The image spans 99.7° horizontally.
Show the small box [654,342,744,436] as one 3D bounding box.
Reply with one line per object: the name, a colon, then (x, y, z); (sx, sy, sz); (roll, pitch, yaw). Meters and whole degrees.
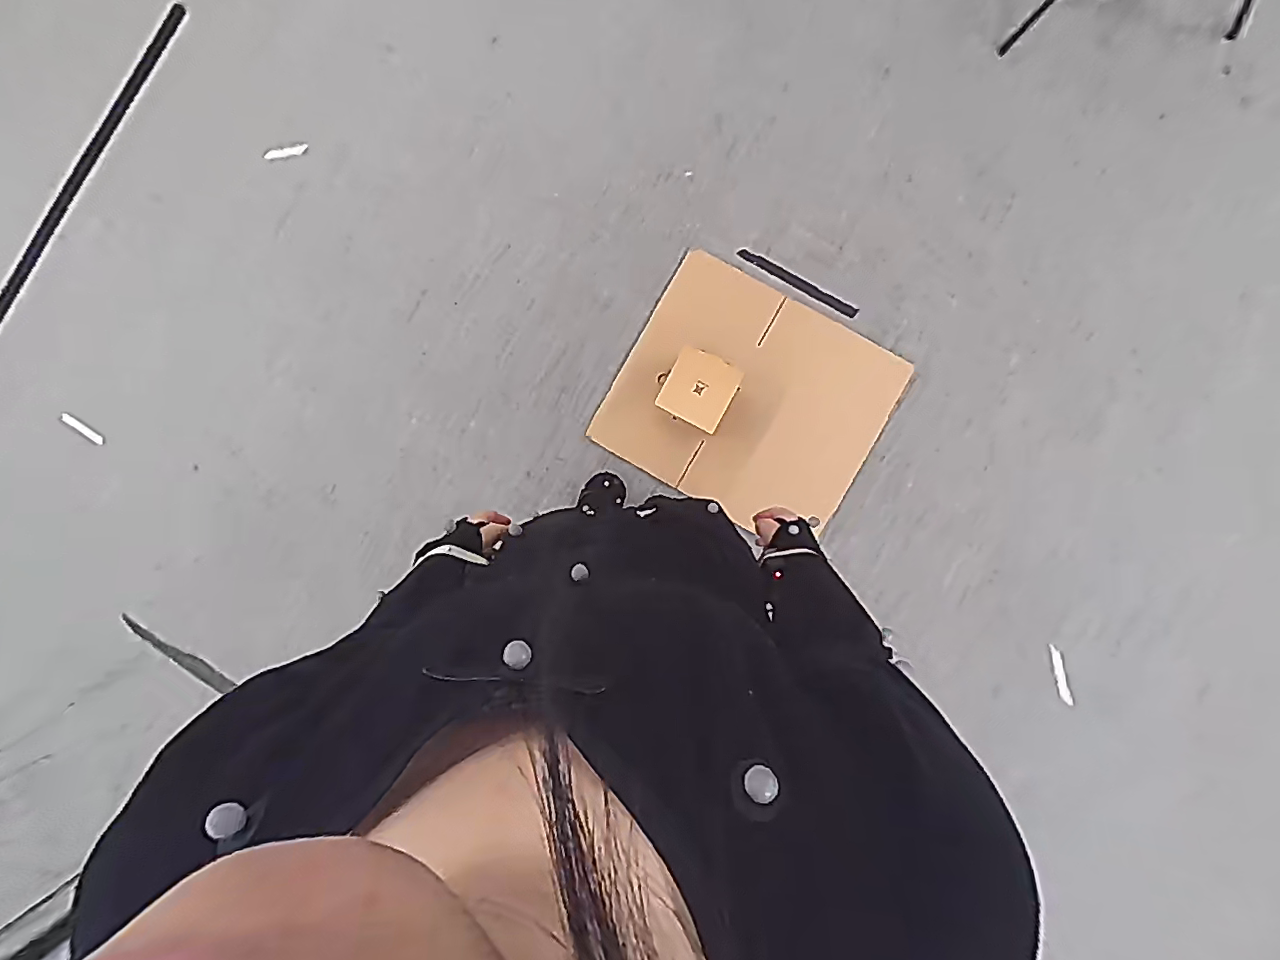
small box: (0.151, -0.226, 1.402); (0.168, 0.176, 0.179); (28, 91, 3)
